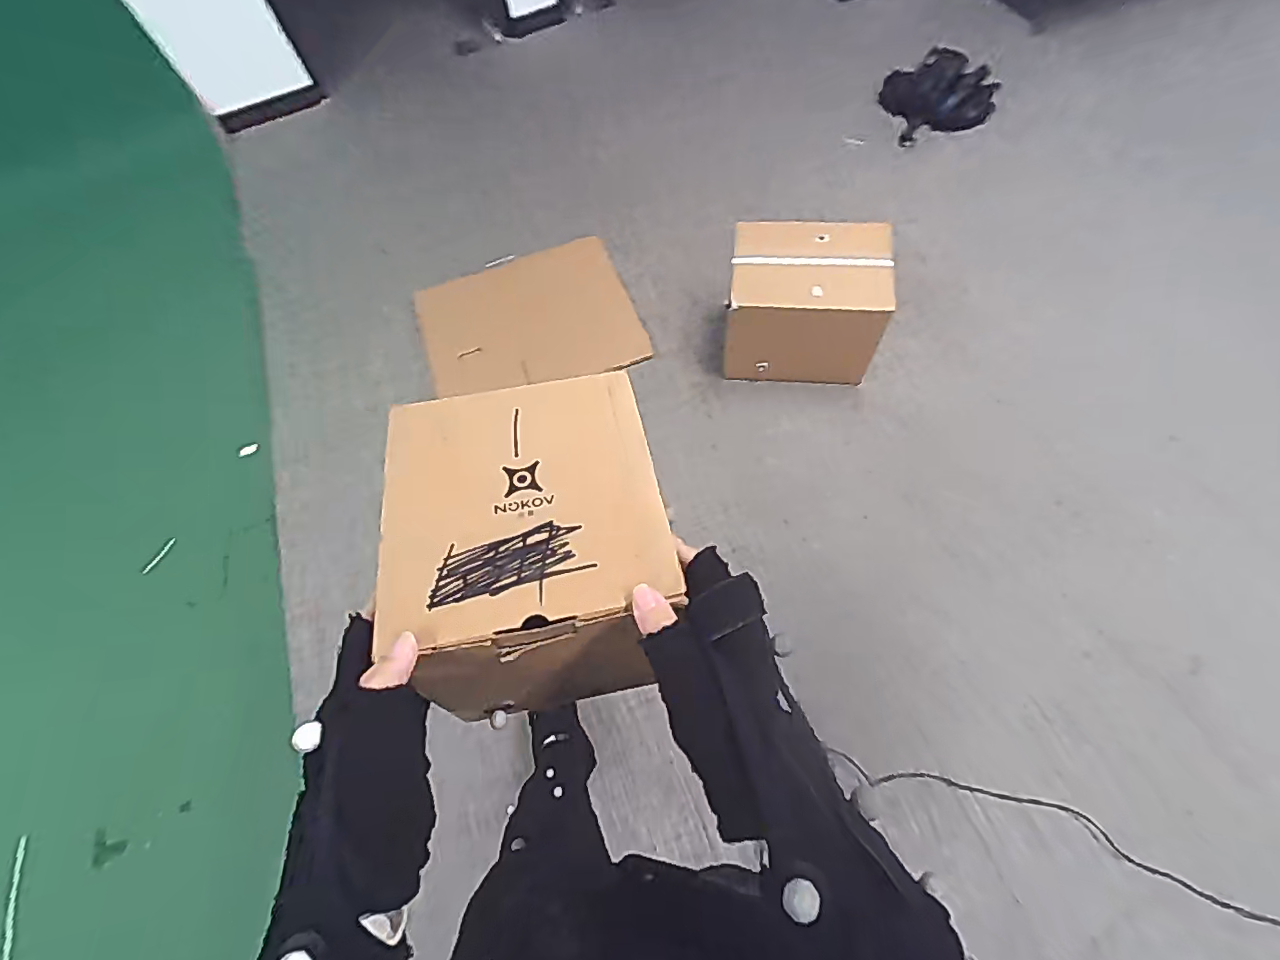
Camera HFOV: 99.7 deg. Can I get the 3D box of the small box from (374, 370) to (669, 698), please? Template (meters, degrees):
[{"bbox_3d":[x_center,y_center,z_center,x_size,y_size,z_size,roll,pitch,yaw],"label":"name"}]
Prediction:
[{"bbox_3d":[-0.073,0.049,0.403,0.168,0.176,0.179,-10,55,-5],"label":"small box"}]
